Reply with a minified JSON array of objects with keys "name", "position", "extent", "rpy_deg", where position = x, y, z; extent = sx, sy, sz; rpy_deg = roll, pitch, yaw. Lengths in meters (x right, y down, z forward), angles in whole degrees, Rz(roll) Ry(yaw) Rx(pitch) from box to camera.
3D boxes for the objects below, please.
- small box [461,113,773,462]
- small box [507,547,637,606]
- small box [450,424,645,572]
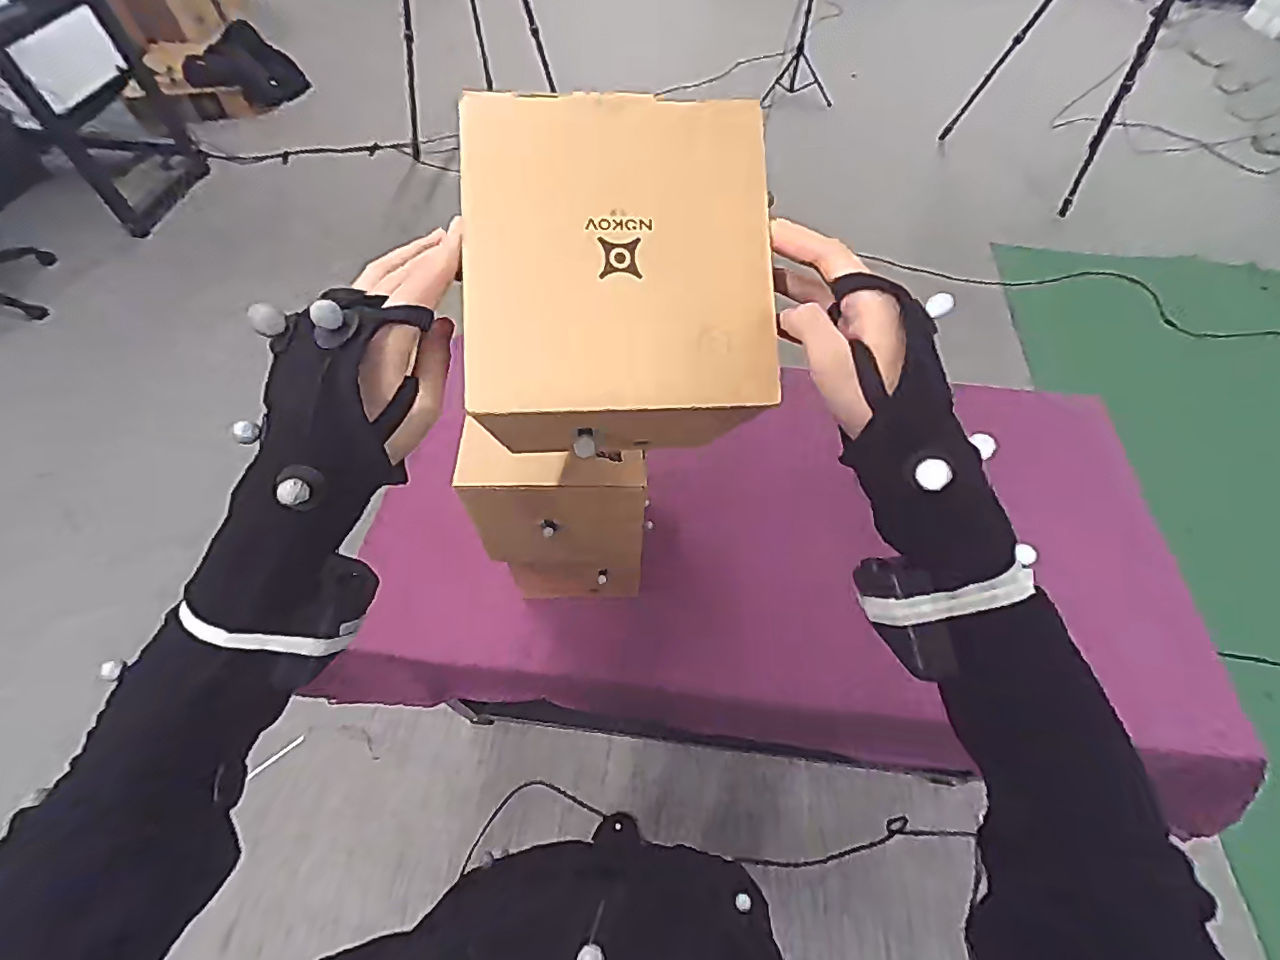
[{"name":"small box","position":[-0.018,-0.106,0.368],"extent":[0.168,0.176,0.179],"rpy_deg":[-2,84,-5]},{"name":"small box","position":[-0.087,0.064,0.745],"extent":[0.168,0.176,0.179],"rpy_deg":[1,55,-2]},{"name":"small box","position":[-0.087,-0.007,0.595],"extent":[0.179,0.176,0.168],"rpy_deg":[0,56,-2]}]
